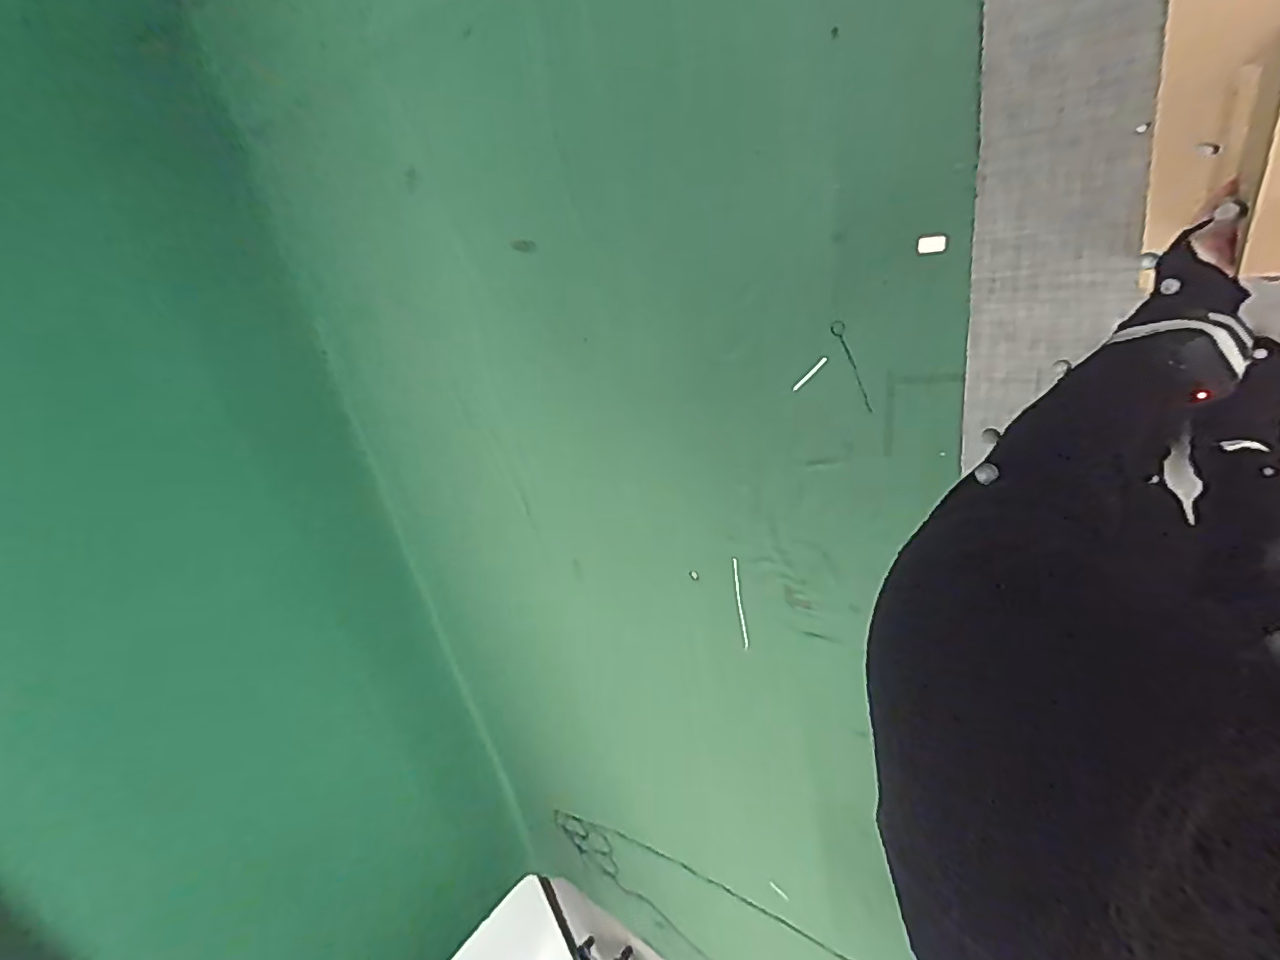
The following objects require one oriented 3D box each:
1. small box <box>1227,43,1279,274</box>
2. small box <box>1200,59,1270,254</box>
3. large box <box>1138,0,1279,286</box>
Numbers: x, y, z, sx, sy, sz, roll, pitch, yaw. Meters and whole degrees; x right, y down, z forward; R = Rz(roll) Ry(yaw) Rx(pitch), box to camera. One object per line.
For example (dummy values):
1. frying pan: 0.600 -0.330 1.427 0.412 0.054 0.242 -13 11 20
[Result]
1. small box: 0.582 -0.264 0.404 0.168 0.176 0.179 10 120 38
2. small box: 0.683 -0.324 0.519 0.179 0.176 0.168 10 119 40
3. large box: 0.829 -0.484 0.651 0.320 0.320 0.408 5 117 40
